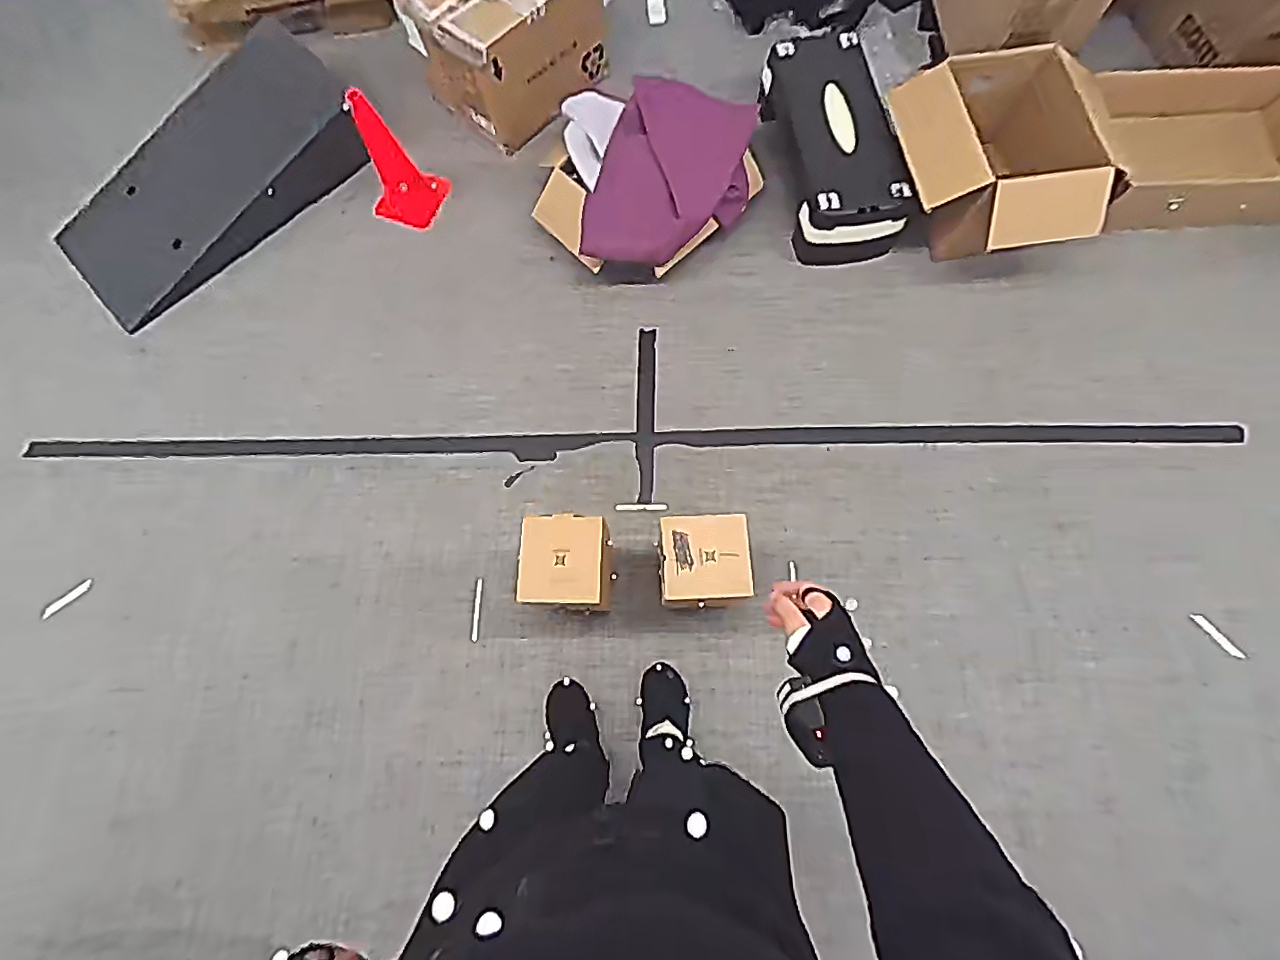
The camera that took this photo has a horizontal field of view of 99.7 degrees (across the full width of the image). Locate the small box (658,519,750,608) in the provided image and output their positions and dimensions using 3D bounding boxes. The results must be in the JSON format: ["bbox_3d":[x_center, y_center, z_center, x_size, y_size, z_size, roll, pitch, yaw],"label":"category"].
[{"bbox_3d":[0.128,0.182,1.153,0.179,0.176,0.168,-2,74,0],"label":"small box"}]

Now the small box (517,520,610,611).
[{"bbox_3d":[-0.156,0.187,1.159,0.168,0.176,0.179,0,75,3],"label":"small box"}]

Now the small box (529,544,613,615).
[{"bbox_3d":[-0.159,0.237,1.314,0.179,0.176,0.168,1,73,2],"label":"small box"}]
